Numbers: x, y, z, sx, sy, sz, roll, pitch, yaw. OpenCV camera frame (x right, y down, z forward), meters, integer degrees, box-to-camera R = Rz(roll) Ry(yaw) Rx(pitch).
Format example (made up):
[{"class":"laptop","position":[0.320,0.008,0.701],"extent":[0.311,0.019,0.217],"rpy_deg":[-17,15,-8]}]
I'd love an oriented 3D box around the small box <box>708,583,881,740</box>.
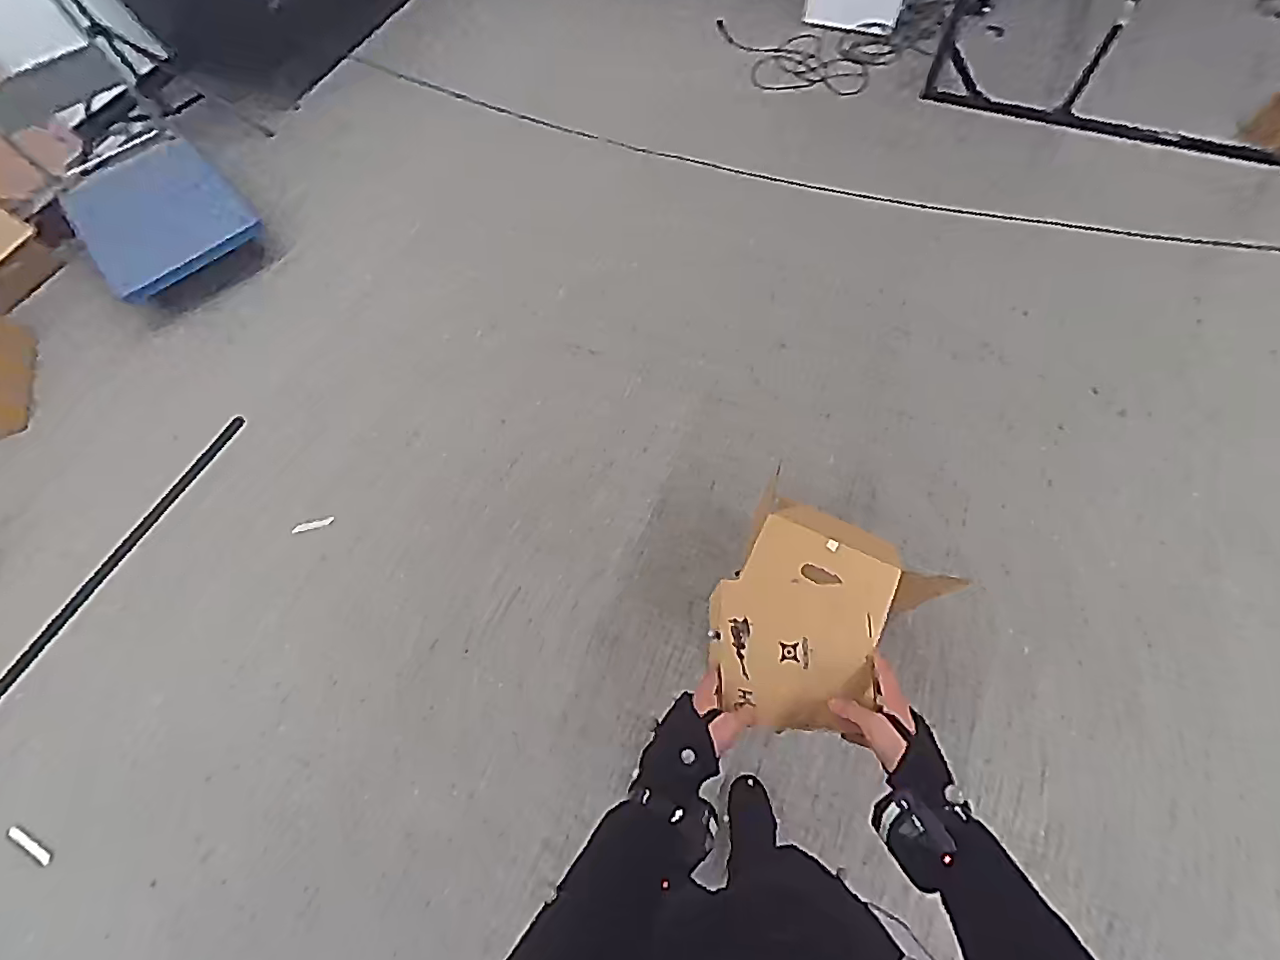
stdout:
[{"class":"small box","position":[0.184,0.227,0.694],"extent":[0.179,0.176,0.168],"rpy_deg":[2,72,3]}]
